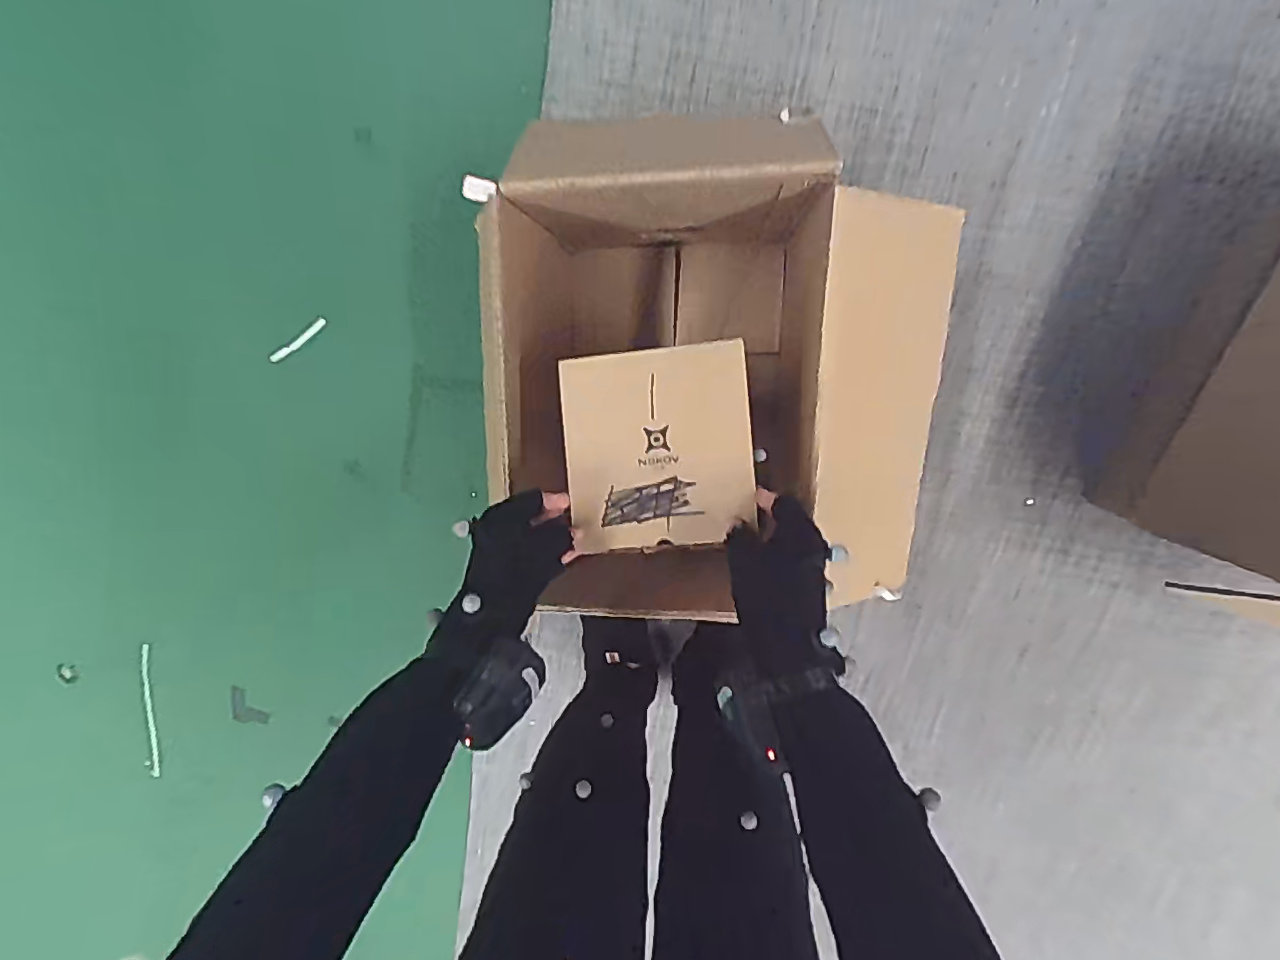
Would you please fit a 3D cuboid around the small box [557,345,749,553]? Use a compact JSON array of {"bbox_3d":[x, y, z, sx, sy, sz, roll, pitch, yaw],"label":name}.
[{"bbox_3d":[0.025,-0.028,0.558,0.168,0.176,0.179,-5,90,10],"label":"small box"}]
